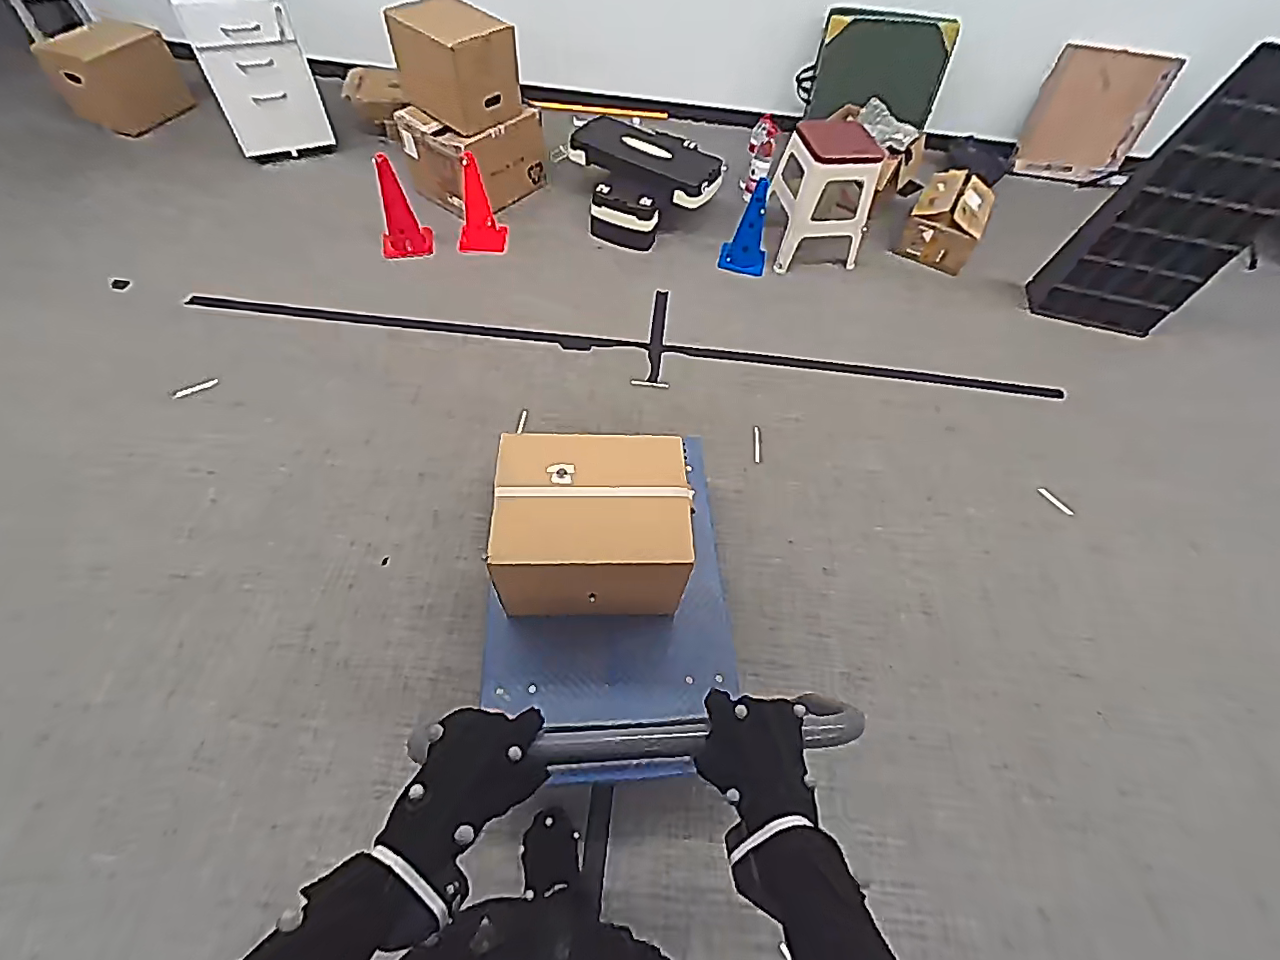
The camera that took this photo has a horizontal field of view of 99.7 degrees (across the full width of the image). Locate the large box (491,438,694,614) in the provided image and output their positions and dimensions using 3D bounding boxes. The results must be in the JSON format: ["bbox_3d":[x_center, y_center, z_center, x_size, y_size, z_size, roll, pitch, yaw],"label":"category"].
[{"bbox_3d":[-0.105,0.115,1.256,0.408,0.320,0.320,1,58,-4],"label":"large box"}]
